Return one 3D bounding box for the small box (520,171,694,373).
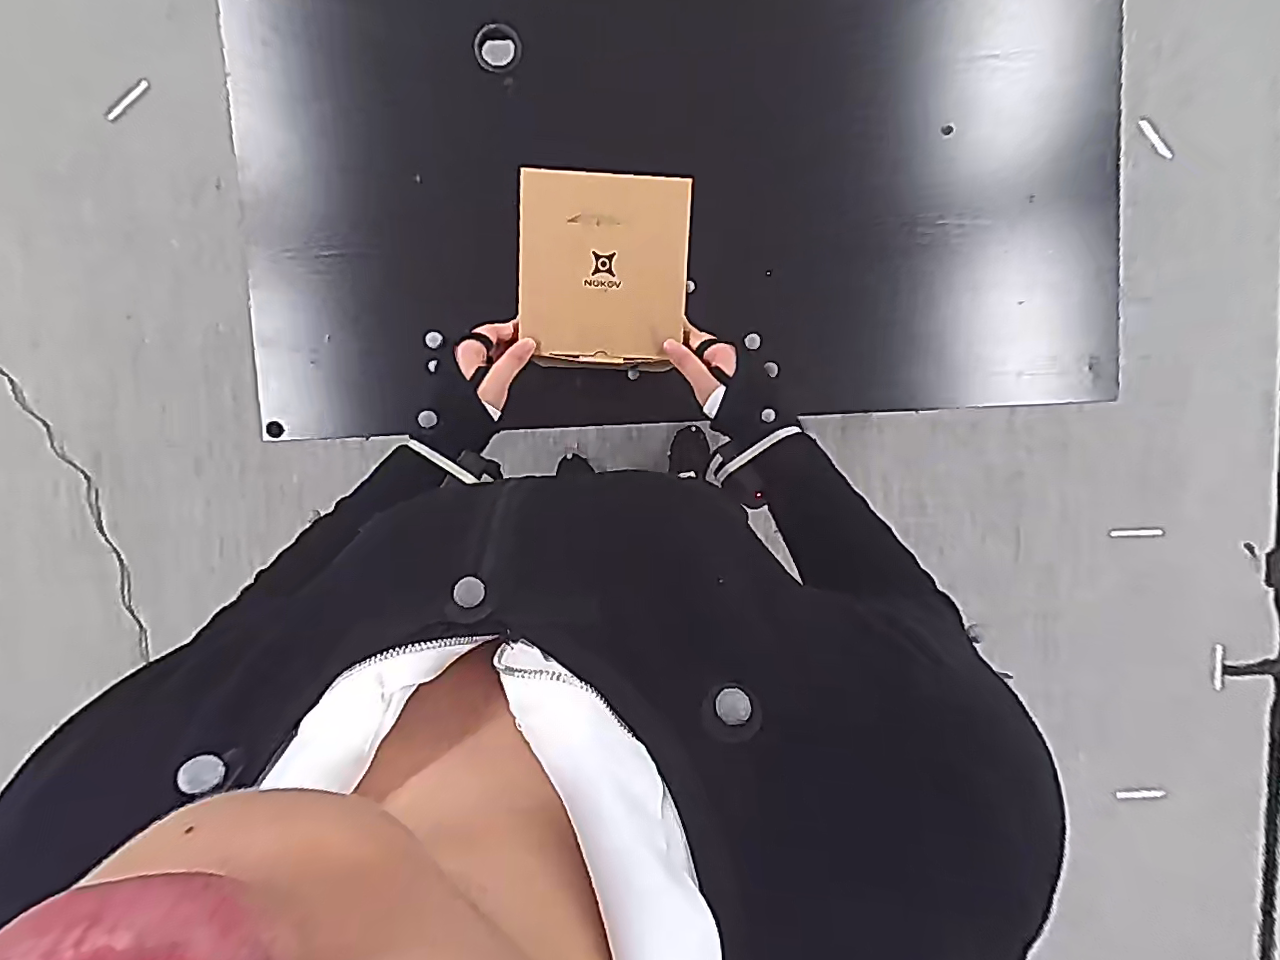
[{"bbox_3d":[-0.037,-0.213,0.601,0.168,0.176,0.179,1,97,-4],"label":"small box"}]
